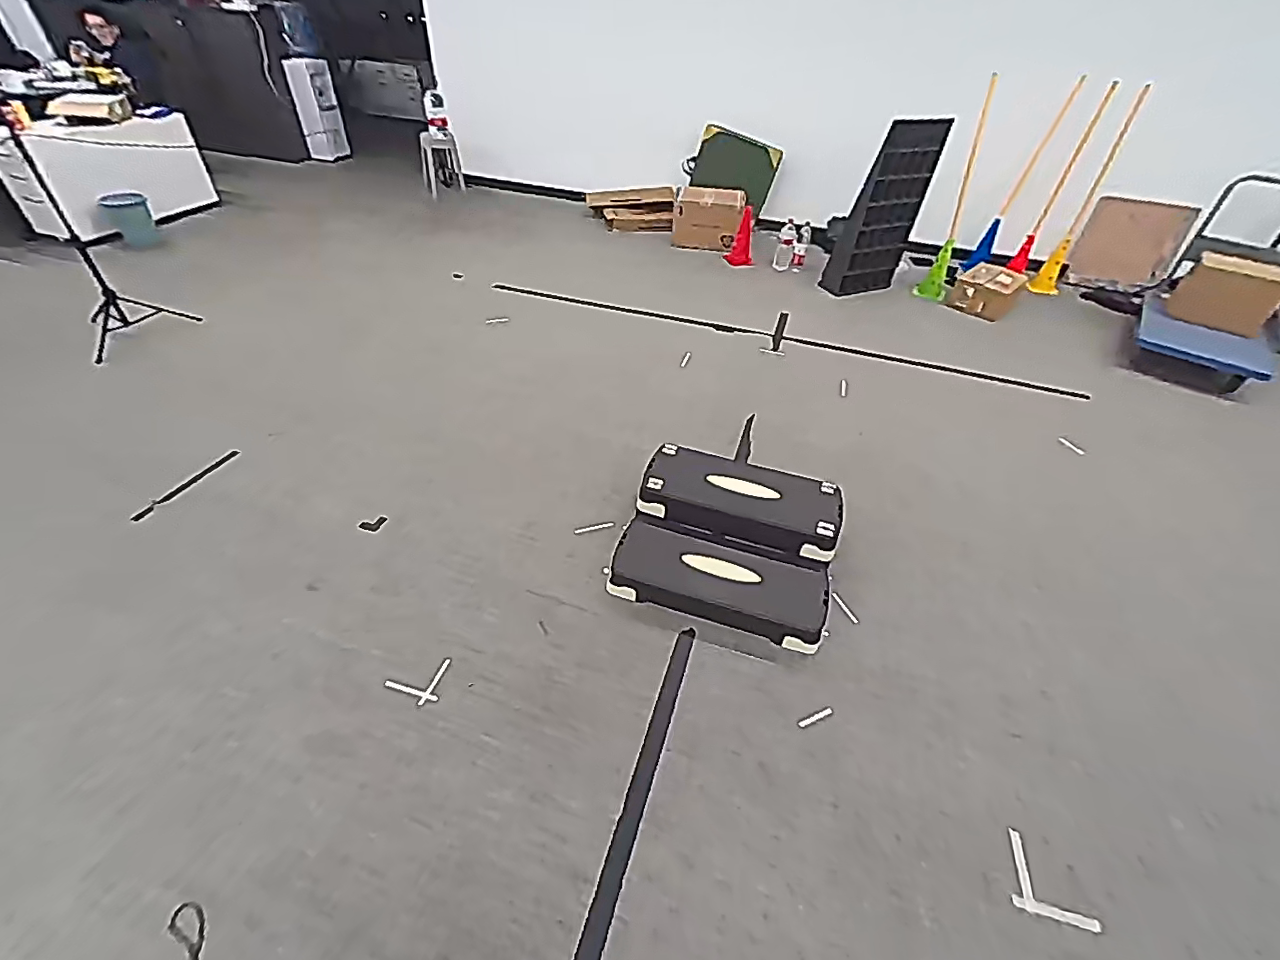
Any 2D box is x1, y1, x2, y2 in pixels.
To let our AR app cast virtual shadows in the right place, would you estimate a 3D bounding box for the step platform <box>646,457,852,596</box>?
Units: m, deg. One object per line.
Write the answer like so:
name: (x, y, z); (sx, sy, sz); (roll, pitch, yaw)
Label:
step platform: (0.370, 0.145, 1.875); (0.684, 0.204, 0.286); (18, 42, 14)
